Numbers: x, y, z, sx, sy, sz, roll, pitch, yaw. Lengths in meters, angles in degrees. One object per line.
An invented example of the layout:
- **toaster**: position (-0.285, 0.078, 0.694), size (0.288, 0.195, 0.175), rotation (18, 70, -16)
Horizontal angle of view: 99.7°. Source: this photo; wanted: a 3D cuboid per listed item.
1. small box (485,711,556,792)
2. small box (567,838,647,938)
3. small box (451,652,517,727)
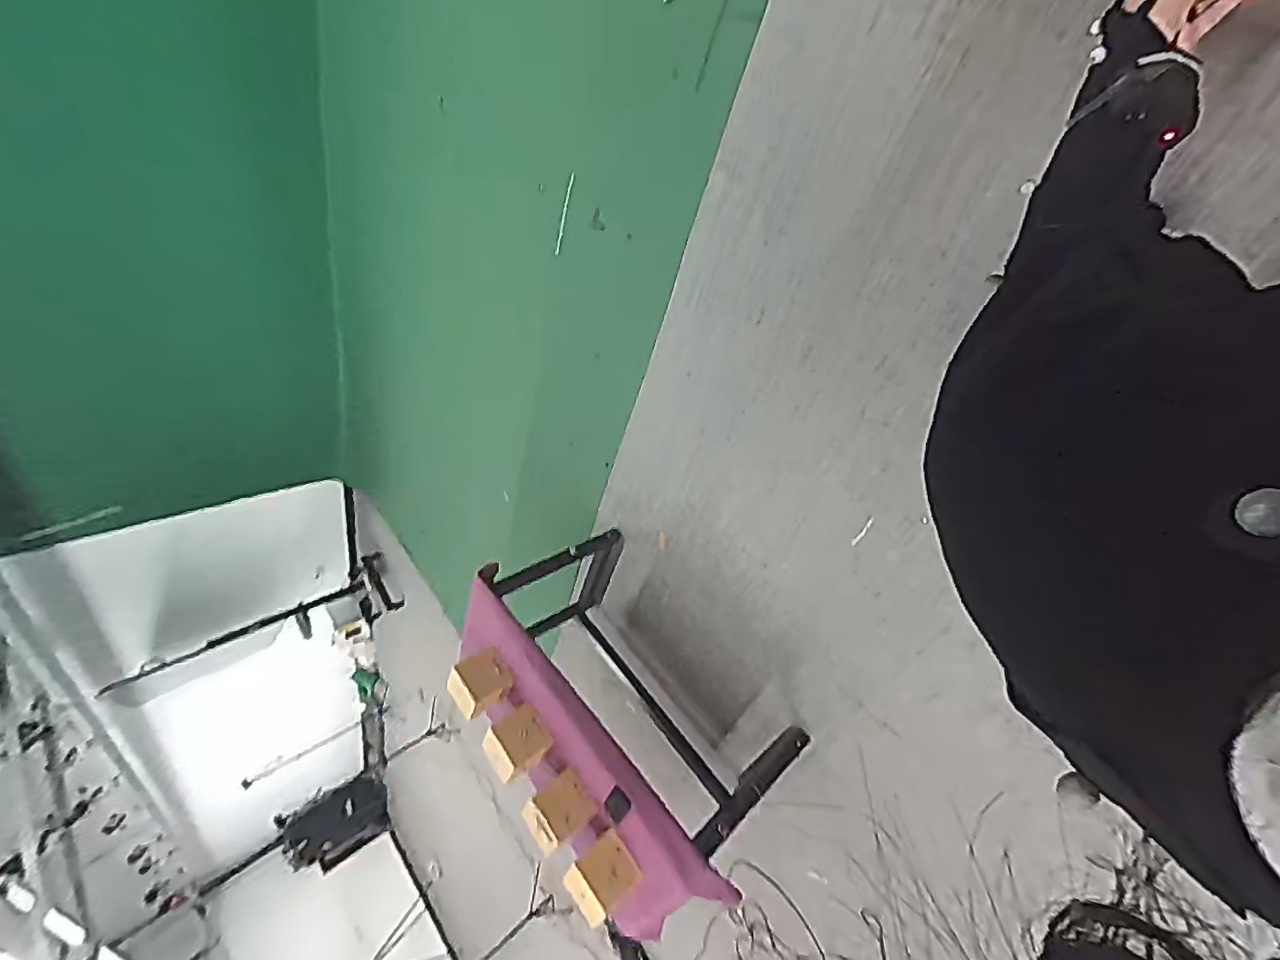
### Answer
- **small box**: position (-0.421, 0.955, 1.916), size (0.168, 0.176, 0.179), rotation (48, 134, 24)
- **small box**: position (-0.102, 1.276, 1.700), size (0.168, 0.176, 0.179), rotation (42, 132, 28)
- **small box**: position (-0.583, 0.782, 2.024), size (0.168, 0.176, 0.179), rotation (48, 134, 22)
